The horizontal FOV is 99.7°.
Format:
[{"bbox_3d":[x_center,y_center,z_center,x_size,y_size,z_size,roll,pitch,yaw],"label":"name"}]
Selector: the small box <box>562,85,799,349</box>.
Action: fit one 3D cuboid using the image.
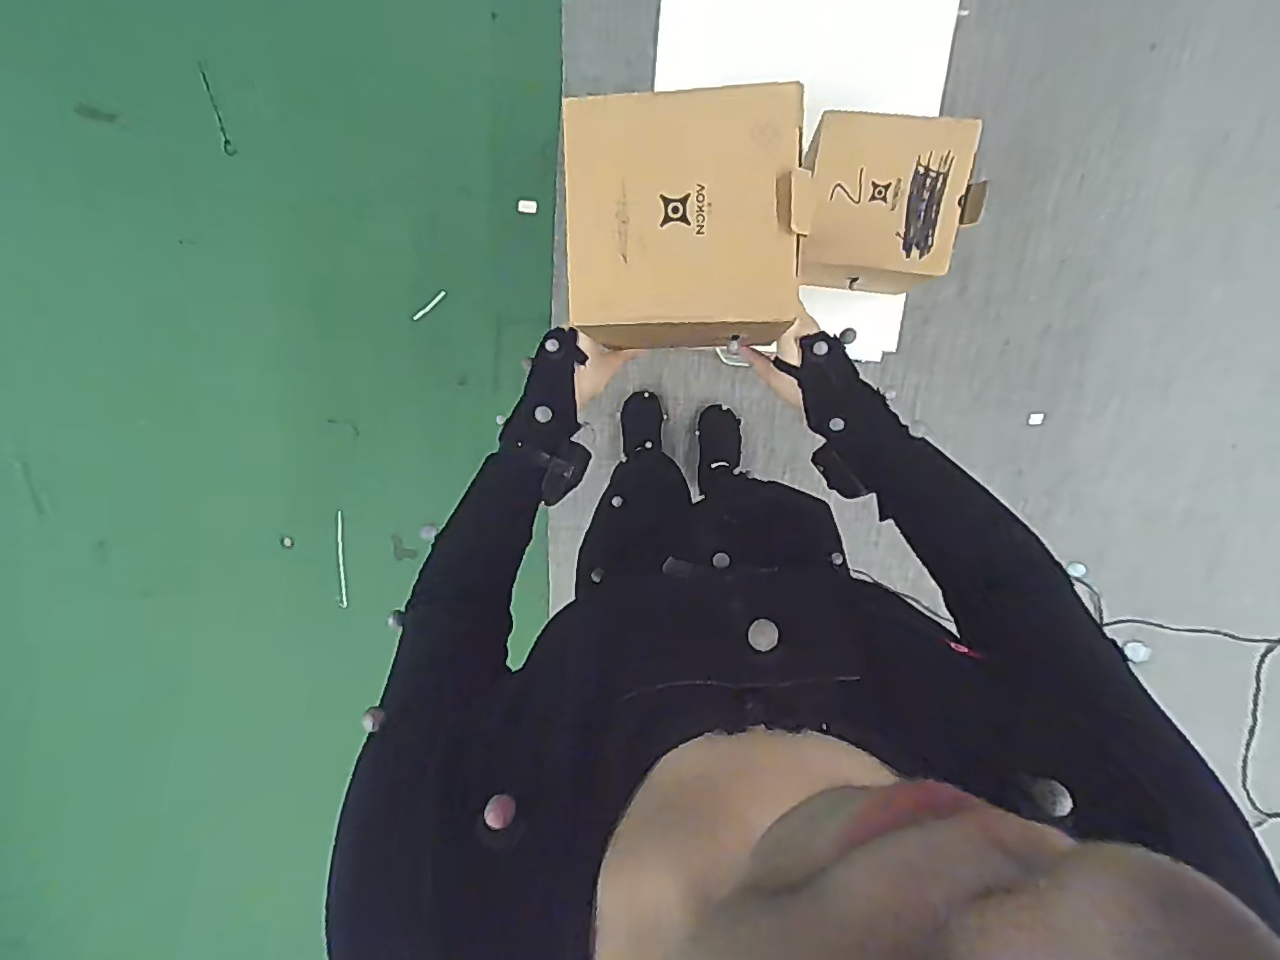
[{"bbox_3d":[0.037,-0.212,0.484,0.179,0.176,0.168,0,96,8],"label":"small box"}]
